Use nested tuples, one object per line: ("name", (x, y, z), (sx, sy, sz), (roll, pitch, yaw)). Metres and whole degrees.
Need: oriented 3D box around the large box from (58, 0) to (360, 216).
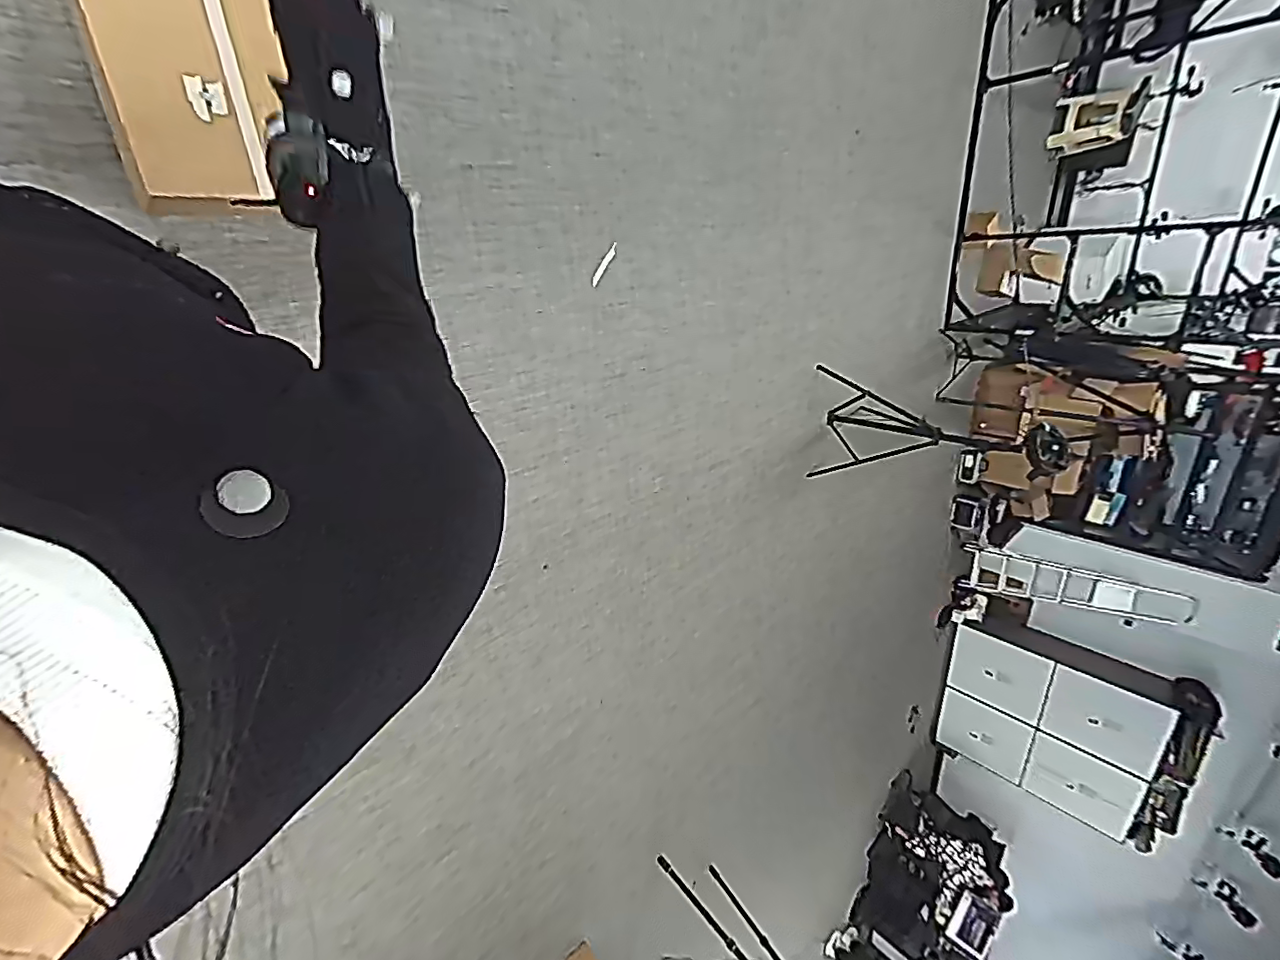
("large box", (-0.748, -0.695, 0.943), (0.320, 0.320, 0.408), (-22, 120, -37))
